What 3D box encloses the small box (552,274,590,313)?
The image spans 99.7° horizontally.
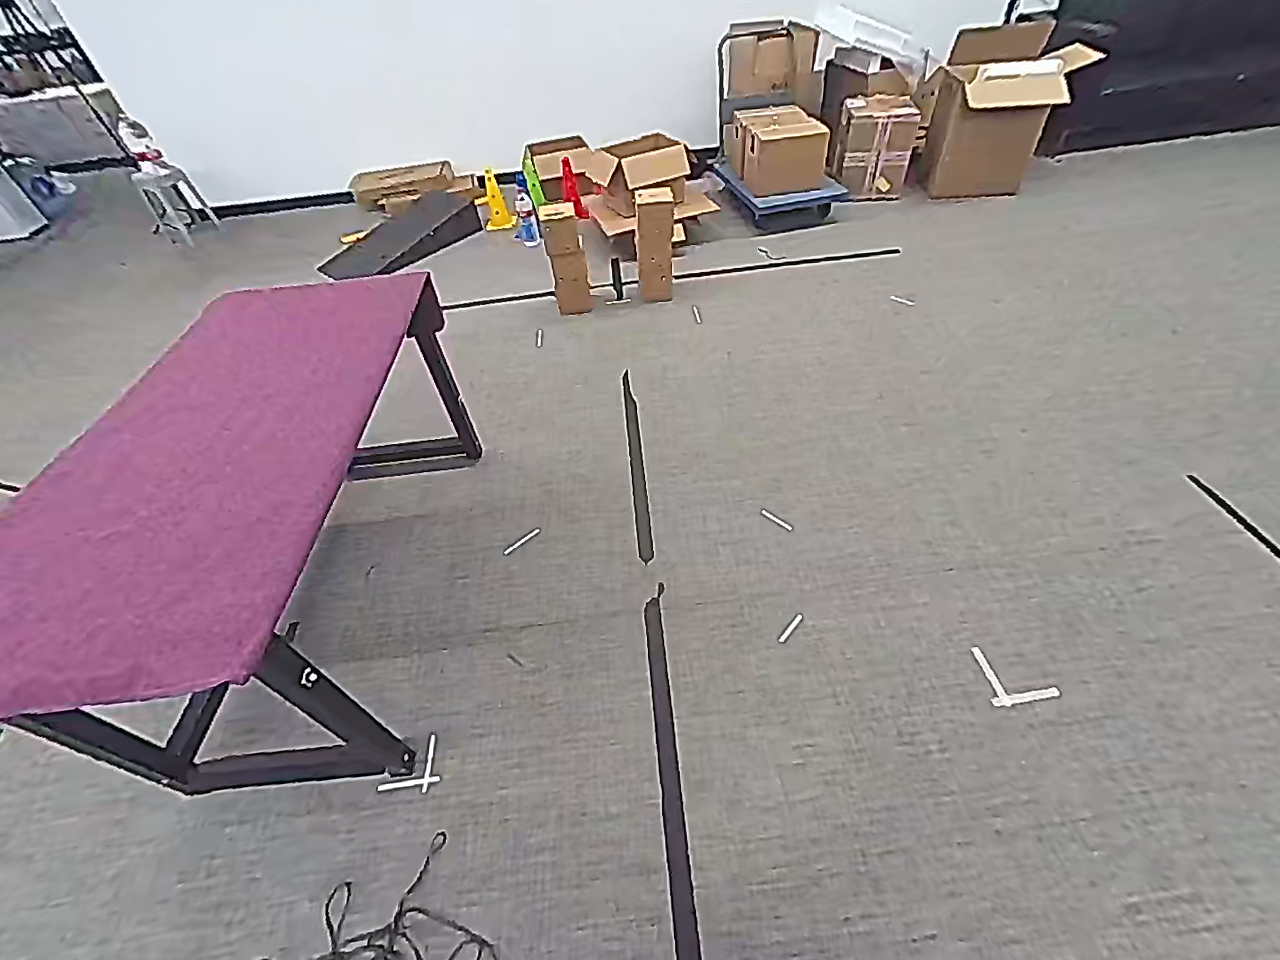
[{"bbox_3d":[-0.356,-0.995,2.821,0.179,0.176,0.168,-10,46,-2],"label":"small box"}]

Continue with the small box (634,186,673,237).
[{"bbox_3d":[0.063,-1.294,2.610,0.179,0.176,0.168,-4,48,-1],"label":"small box"}]

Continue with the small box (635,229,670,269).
[{"bbox_3d":[0.062,-1.189,2.736,0.168,0.176,0.179,-6,48,-1],"label":"small box"}]

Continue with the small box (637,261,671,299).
[{"bbox_3d":[0.074,-1.069,2.846,0.179,0.176,0.168,-3,47,2],"label":"small box"}]

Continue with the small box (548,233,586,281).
[{"bbox_3d":[-0.362,-1.107,2.702,0.168,0.176,0.179,-7,45,0],"label":"small box"}]
